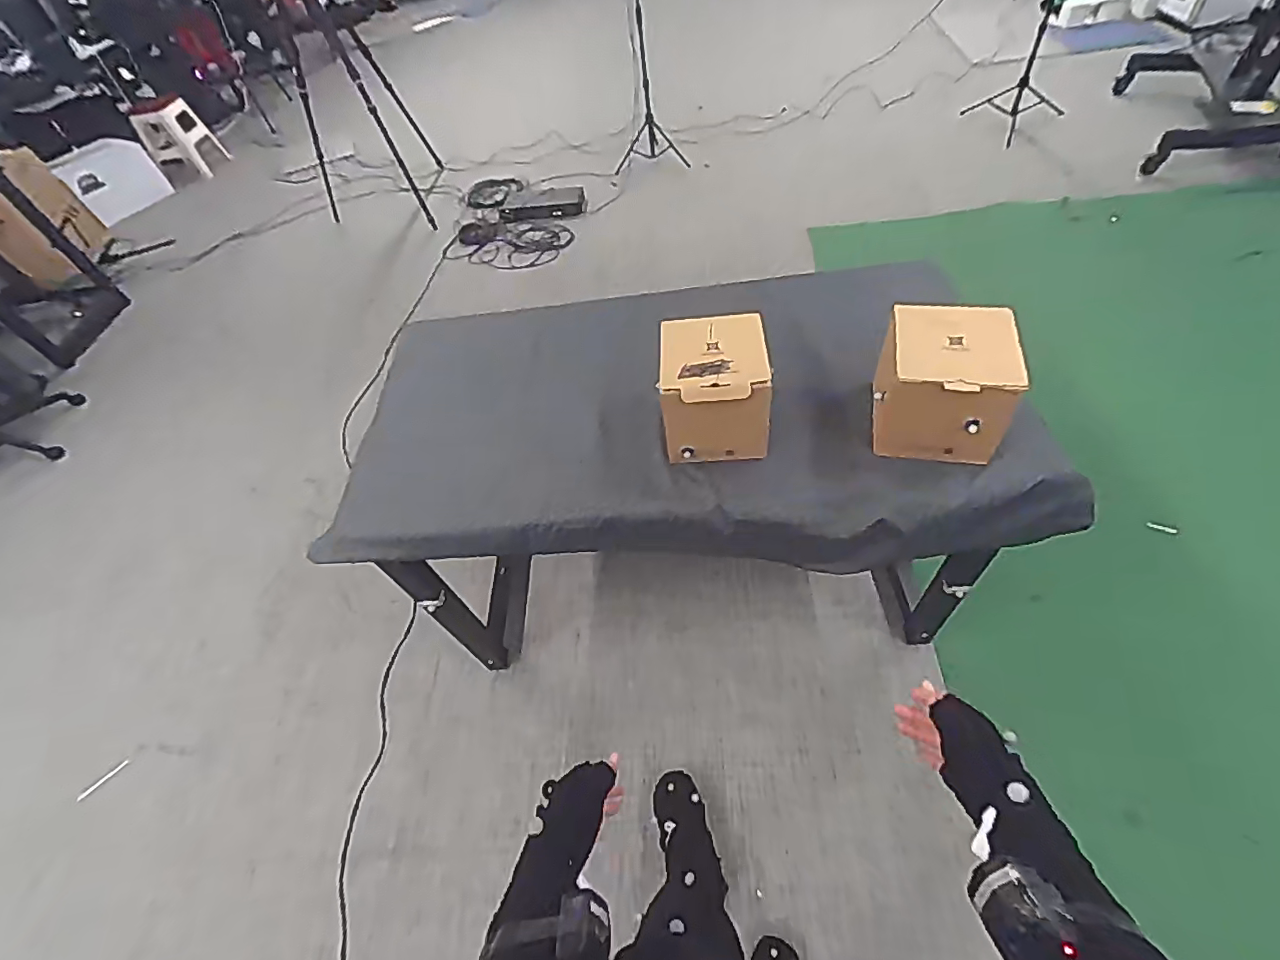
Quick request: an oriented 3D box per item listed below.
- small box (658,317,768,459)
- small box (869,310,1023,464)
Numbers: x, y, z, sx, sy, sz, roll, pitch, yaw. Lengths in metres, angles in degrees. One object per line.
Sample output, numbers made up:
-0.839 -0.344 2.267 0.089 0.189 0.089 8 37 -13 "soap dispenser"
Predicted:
0.121 -0.146 0.908 0.168 0.176 0.179 -3 51 7 "small box"
0.464 -0.144 0.850 0.168 0.176 0.179 6 52 14 "small box"
